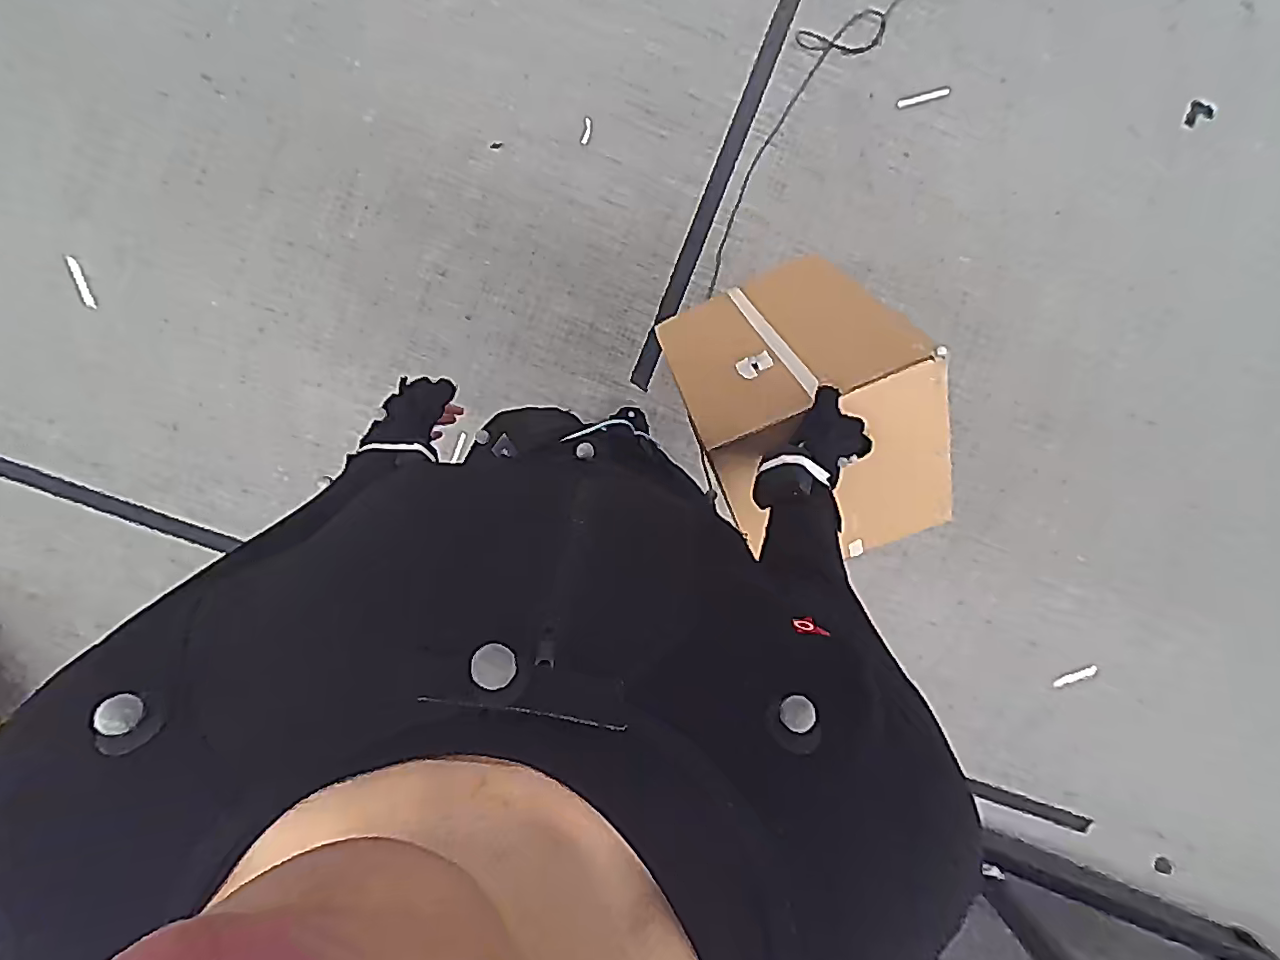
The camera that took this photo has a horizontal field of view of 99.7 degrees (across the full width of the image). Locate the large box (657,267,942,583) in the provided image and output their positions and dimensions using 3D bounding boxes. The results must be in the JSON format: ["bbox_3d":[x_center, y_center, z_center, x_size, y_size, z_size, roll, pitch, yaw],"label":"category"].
[{"bbox_3d":[0.254,-0.105,0.929,0.320,0.408,0.320,-23,129,7],"label":"large box"}]
